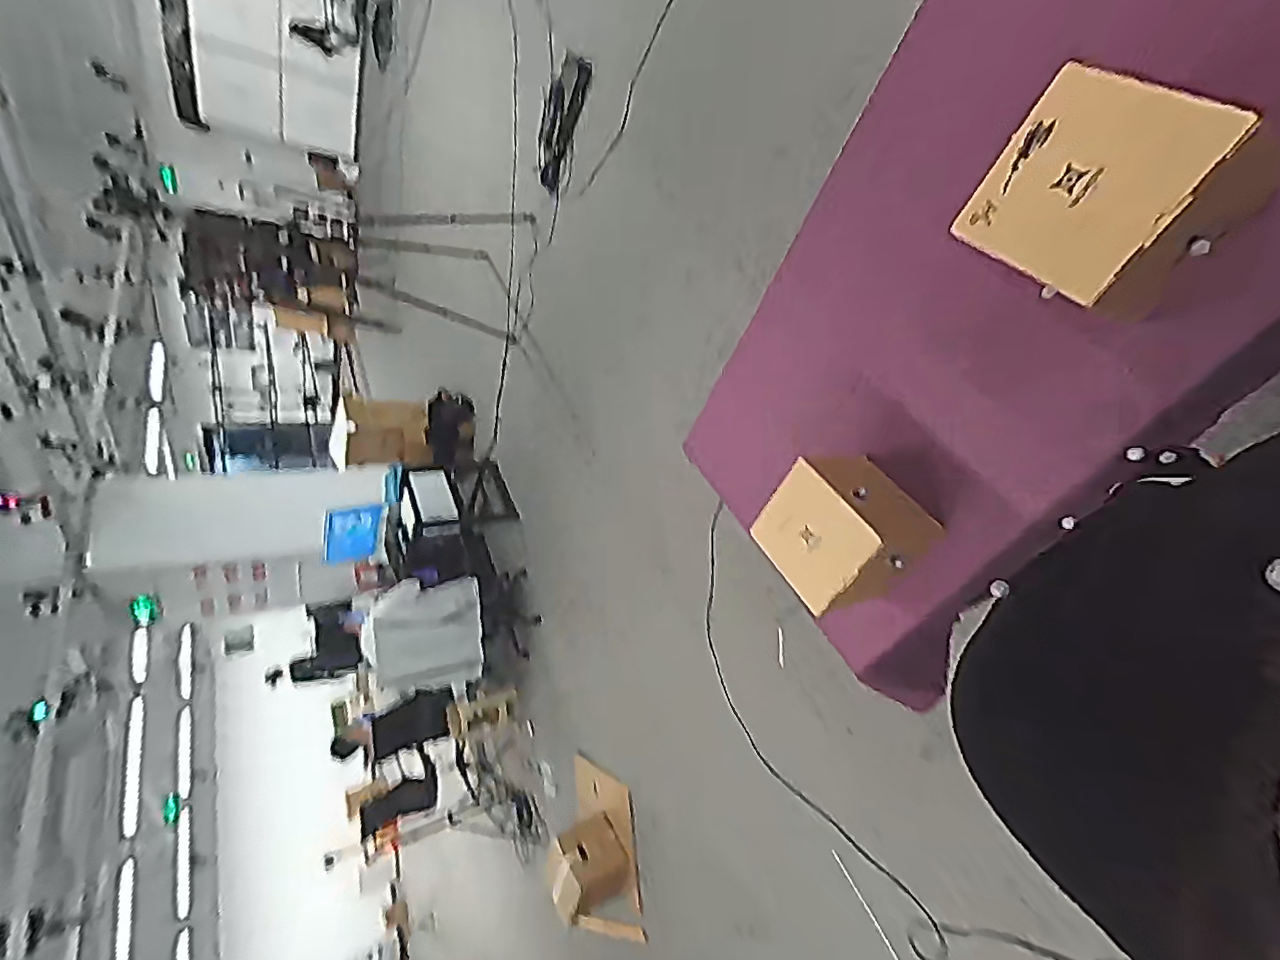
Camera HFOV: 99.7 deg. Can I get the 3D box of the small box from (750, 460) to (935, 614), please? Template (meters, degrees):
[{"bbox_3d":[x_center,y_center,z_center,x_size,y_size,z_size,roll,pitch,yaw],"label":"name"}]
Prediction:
[{"bbox_3d":[0.316,0.079,0.849,0.179,0.176,0.168,55,134,36],"label":"small box"}]

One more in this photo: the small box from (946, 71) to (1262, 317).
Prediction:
[{"bbox_3d":[0.485,-0.289,0.574,0.179,0.176,0.168,56,135,34],"label":"small box"}]
